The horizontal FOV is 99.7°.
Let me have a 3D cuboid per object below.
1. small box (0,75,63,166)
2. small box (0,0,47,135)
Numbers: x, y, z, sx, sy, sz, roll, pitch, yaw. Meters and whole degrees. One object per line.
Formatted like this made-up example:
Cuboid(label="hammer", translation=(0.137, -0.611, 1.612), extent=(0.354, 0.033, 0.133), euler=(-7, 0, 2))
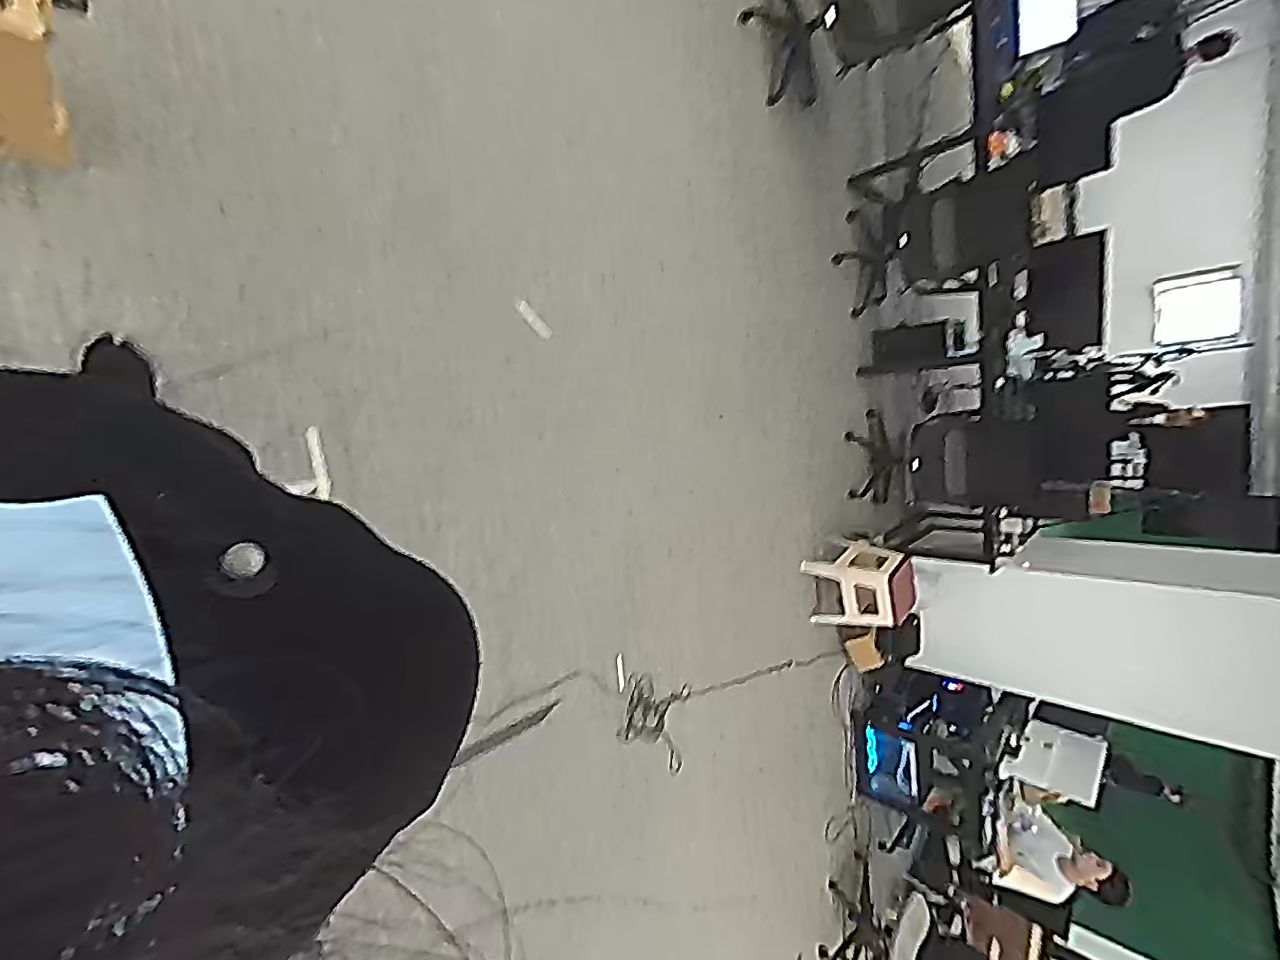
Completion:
Cuboid(label="small box", translation=(-1.110, -0.662, 0.908), extent=(0.168, 0.176, 0.179), euler=(-15, 100, -44))
Cuboid(label="small box", translation=(-0.998, -0.655, 0.790), extent=(0.168, 0.176, 0.179), euler=(-5, 95, -45))
